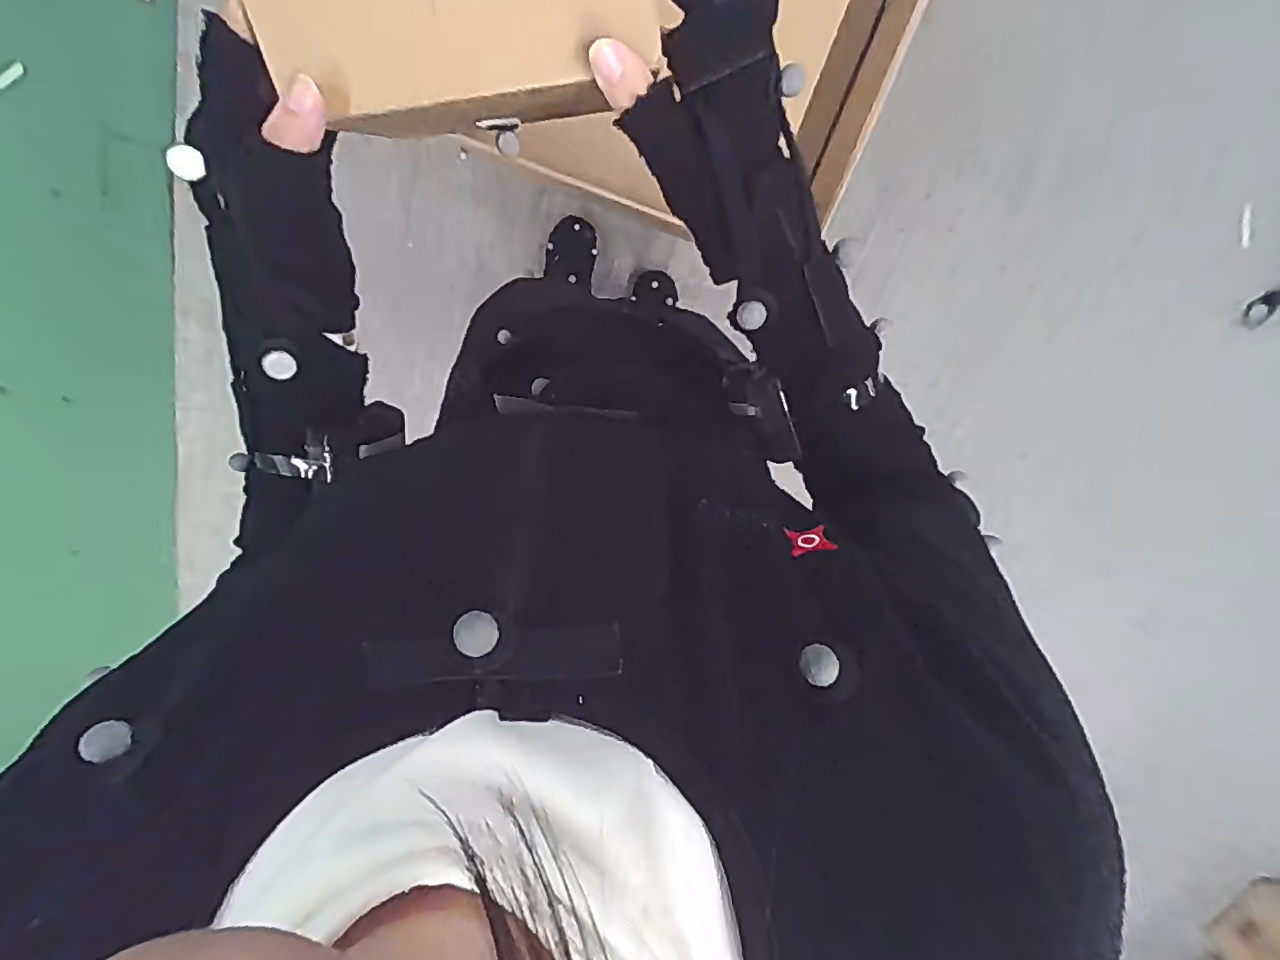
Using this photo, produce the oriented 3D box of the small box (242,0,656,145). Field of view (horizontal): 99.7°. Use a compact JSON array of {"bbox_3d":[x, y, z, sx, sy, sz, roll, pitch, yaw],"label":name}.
[{"bbox_3d":[-0.087,-0.279,0.263,0.168,0.176,0.179,-8,120,3],"label":"small box"}]
